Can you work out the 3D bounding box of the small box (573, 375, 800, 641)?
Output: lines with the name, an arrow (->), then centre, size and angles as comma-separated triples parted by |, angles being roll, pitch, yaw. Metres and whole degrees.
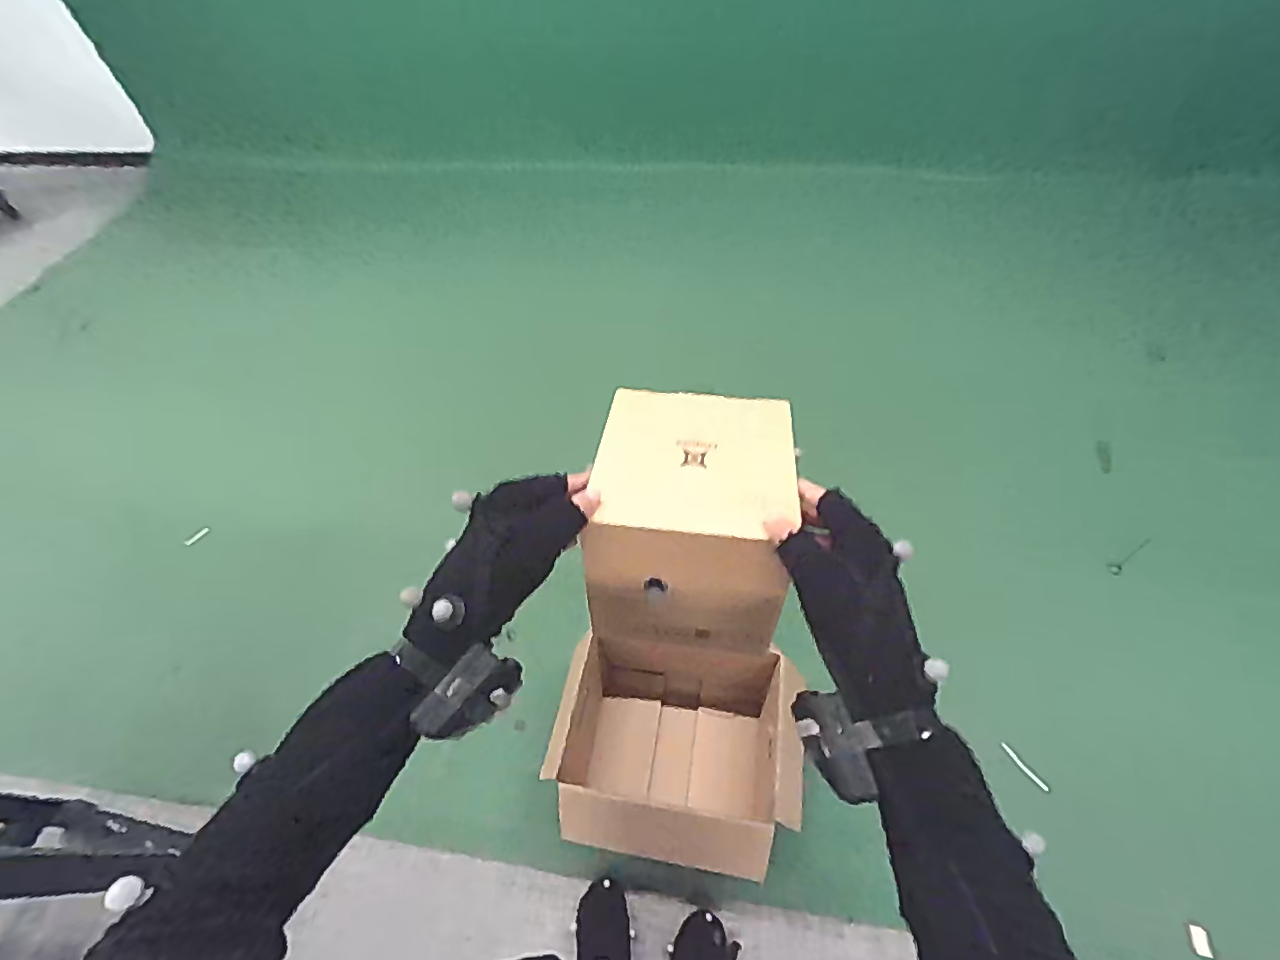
small box -> 0.045, 0.025, 0.496 | 0.168, 0.176, 0.179 | 5, 44, 6
